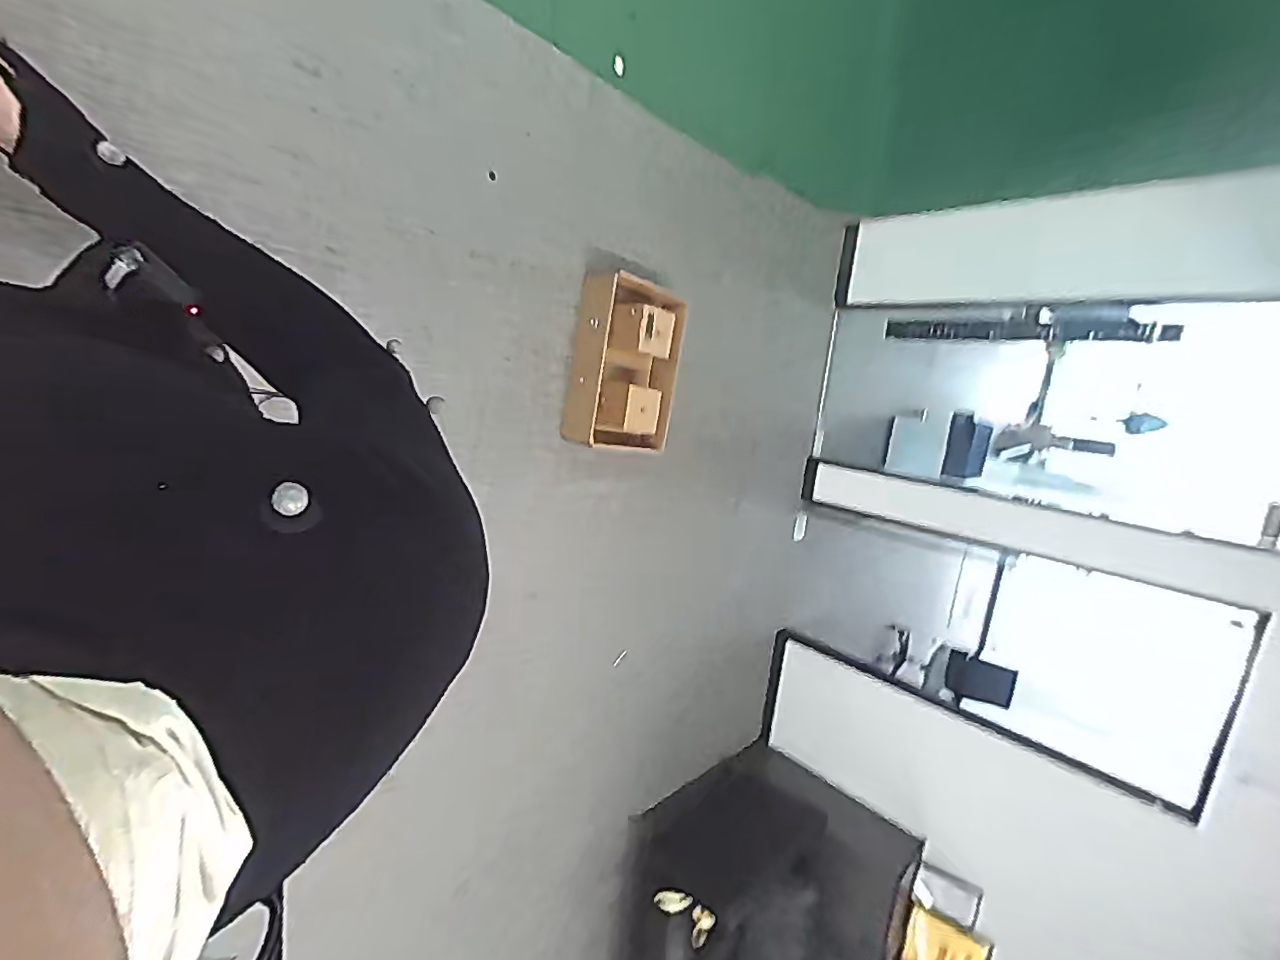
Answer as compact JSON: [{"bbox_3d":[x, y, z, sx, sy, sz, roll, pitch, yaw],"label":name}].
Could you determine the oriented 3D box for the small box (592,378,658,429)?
[{"bbox_3d":[-0.058,-0.295,2.075,0.179,0.176,0.168,2,100,-46],"label":"small box"}]
